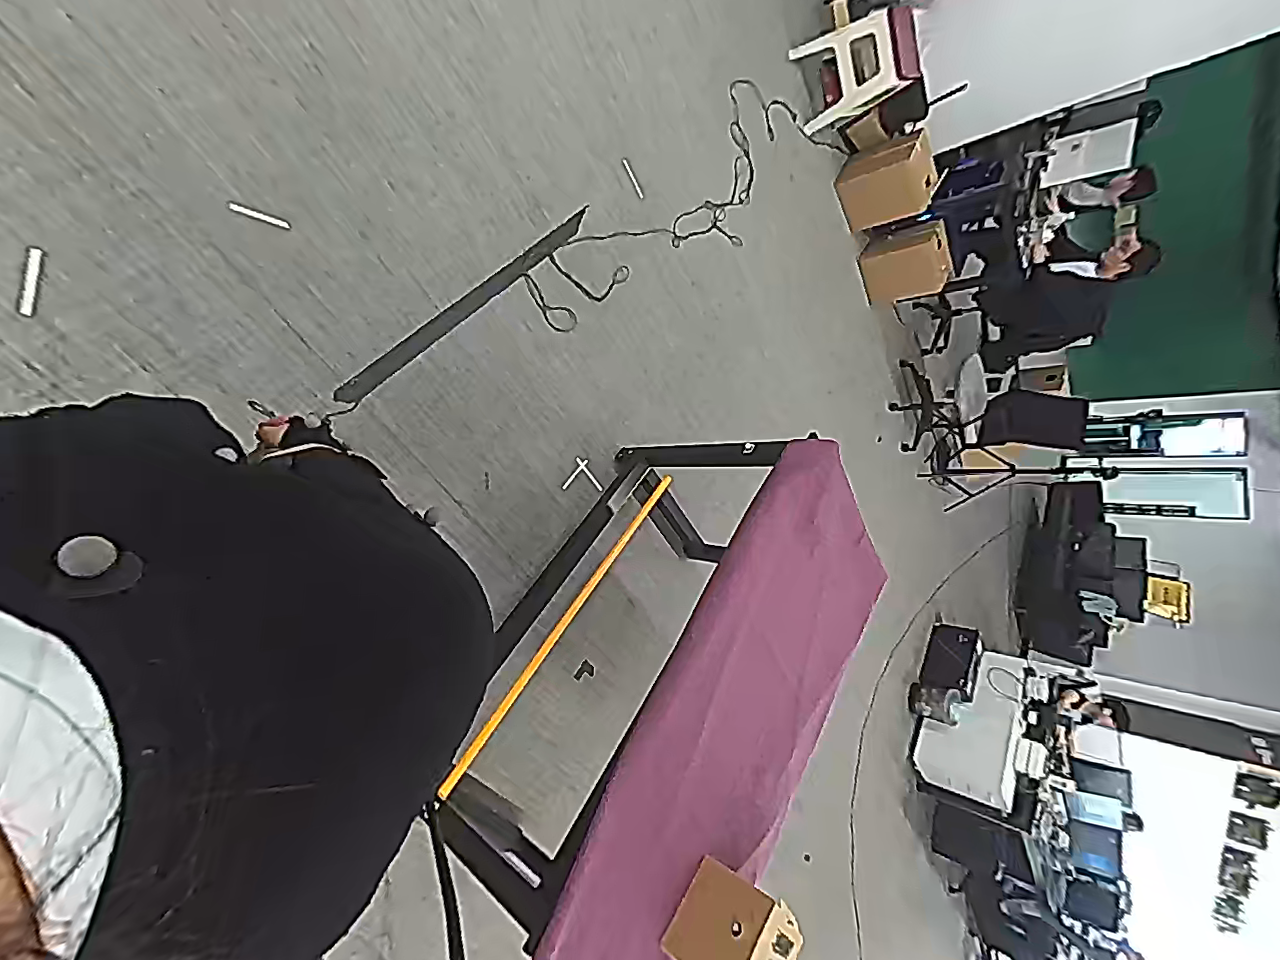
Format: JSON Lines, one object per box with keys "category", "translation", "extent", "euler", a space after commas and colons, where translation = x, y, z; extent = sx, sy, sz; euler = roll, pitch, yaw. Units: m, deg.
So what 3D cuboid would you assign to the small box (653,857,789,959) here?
{"category": "small box", "translation": [0.155, 0.882, 1.045], "extent": [0.179, 0.176, 0.168], "euler": [-47, 121, -33]}
